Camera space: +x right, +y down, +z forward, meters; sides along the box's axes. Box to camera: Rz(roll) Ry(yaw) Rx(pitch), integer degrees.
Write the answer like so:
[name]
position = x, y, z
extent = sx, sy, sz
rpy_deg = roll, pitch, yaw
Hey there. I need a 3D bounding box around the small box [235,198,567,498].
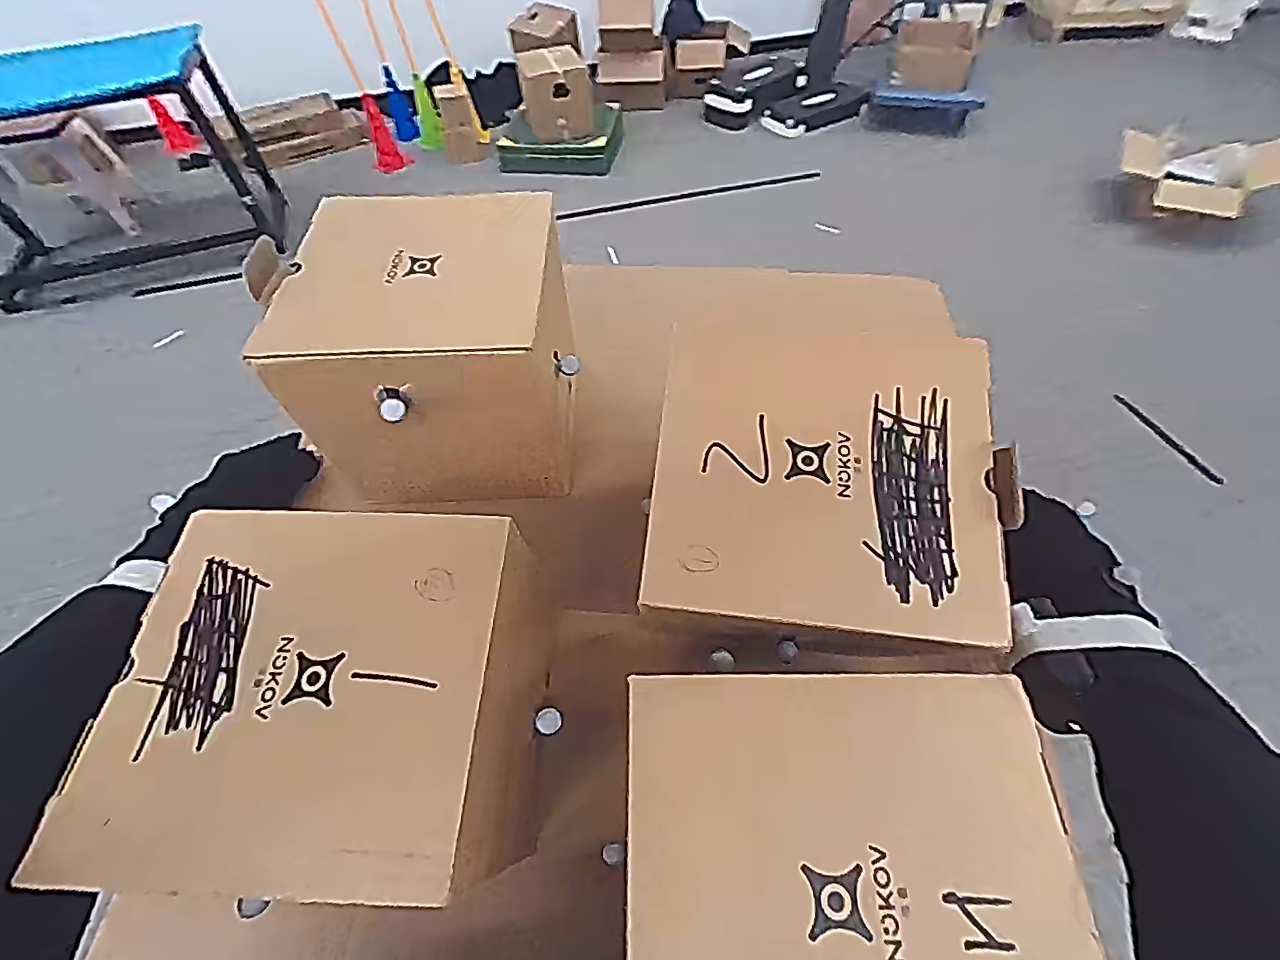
[small box]
position = -0.157, -0.097, 0.433
extent = 0.179, 0.176, 0.168
rpy_deg = -3, 56, 1
